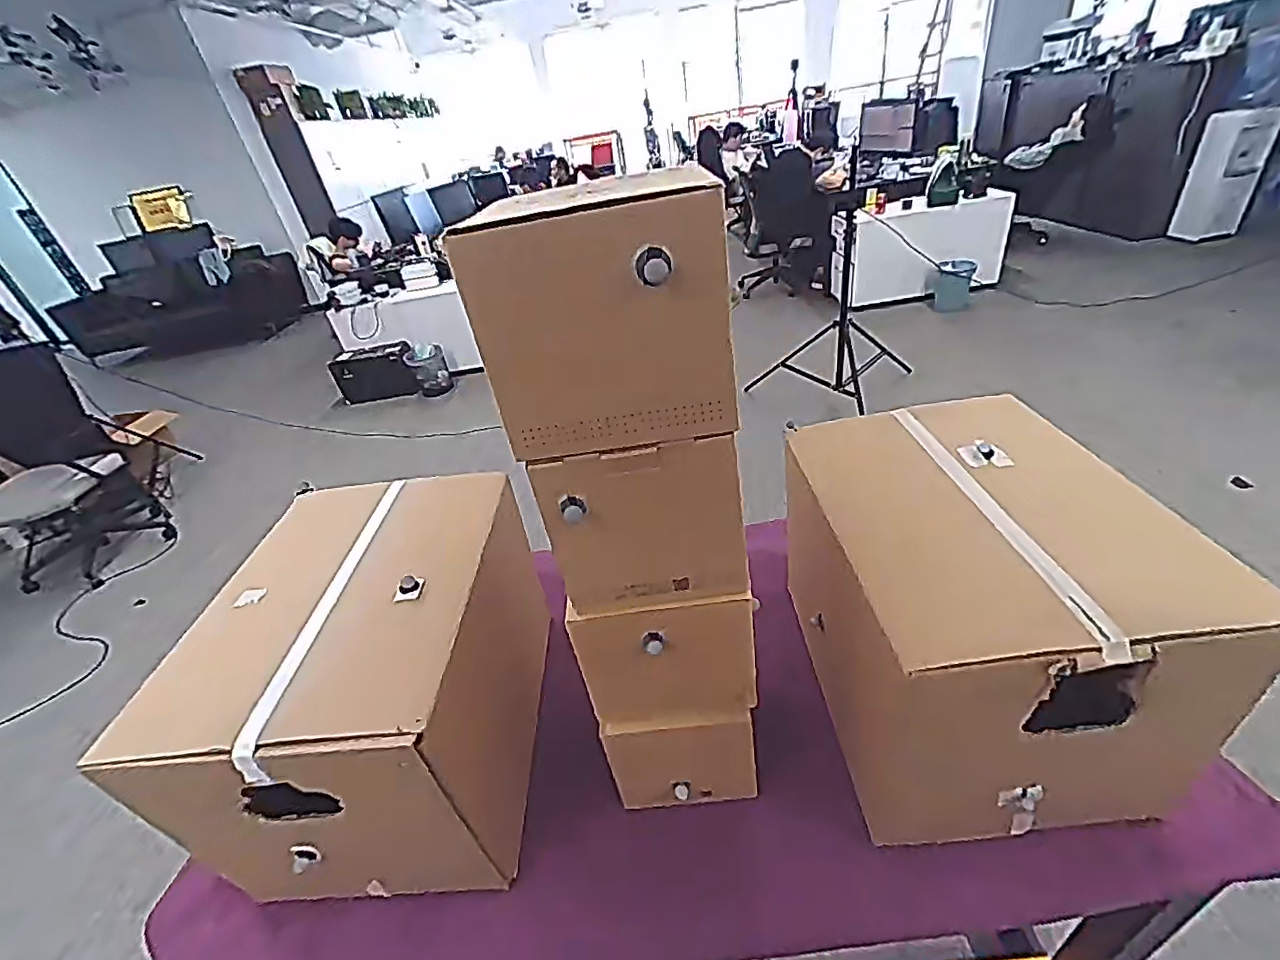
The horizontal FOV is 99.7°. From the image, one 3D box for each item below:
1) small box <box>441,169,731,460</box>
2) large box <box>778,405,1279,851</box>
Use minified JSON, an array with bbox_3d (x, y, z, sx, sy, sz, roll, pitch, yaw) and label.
[{"bbox_3d":[-0.024,-0.134,0.433,0.179,0.176,0.168,-8,32,6],"label":"small box"},{"bbox_3d":[0.377,0.152,0.663,0.320,0.320,0.408,-8,33,4],"label":"large box"}]
